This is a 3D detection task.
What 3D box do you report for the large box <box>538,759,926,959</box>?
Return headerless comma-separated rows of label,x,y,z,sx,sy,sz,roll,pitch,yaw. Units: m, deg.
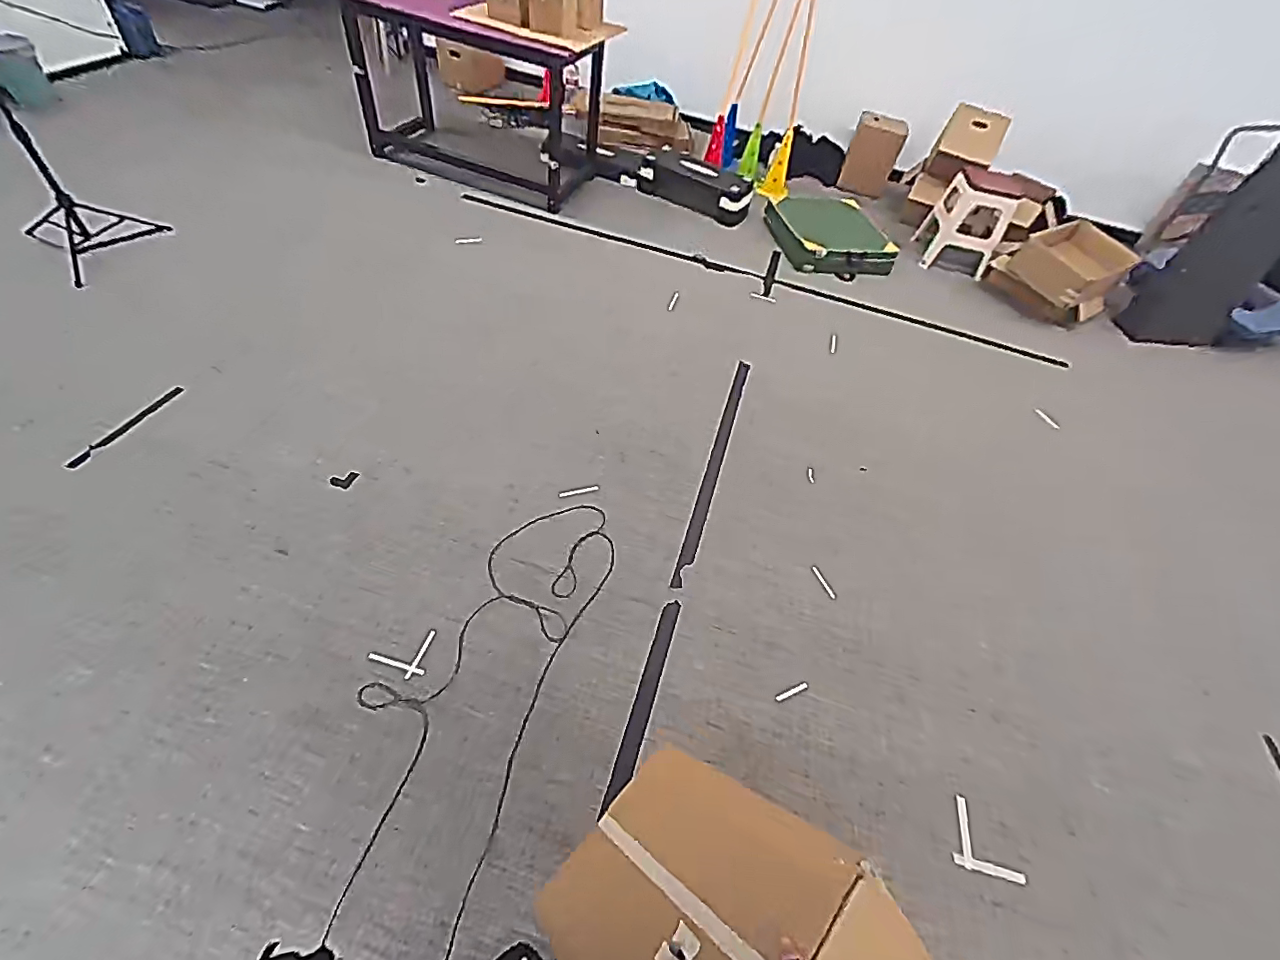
large box,0.131,0.663,0.725,0.320,0.408,0.320,-40,105,-28
